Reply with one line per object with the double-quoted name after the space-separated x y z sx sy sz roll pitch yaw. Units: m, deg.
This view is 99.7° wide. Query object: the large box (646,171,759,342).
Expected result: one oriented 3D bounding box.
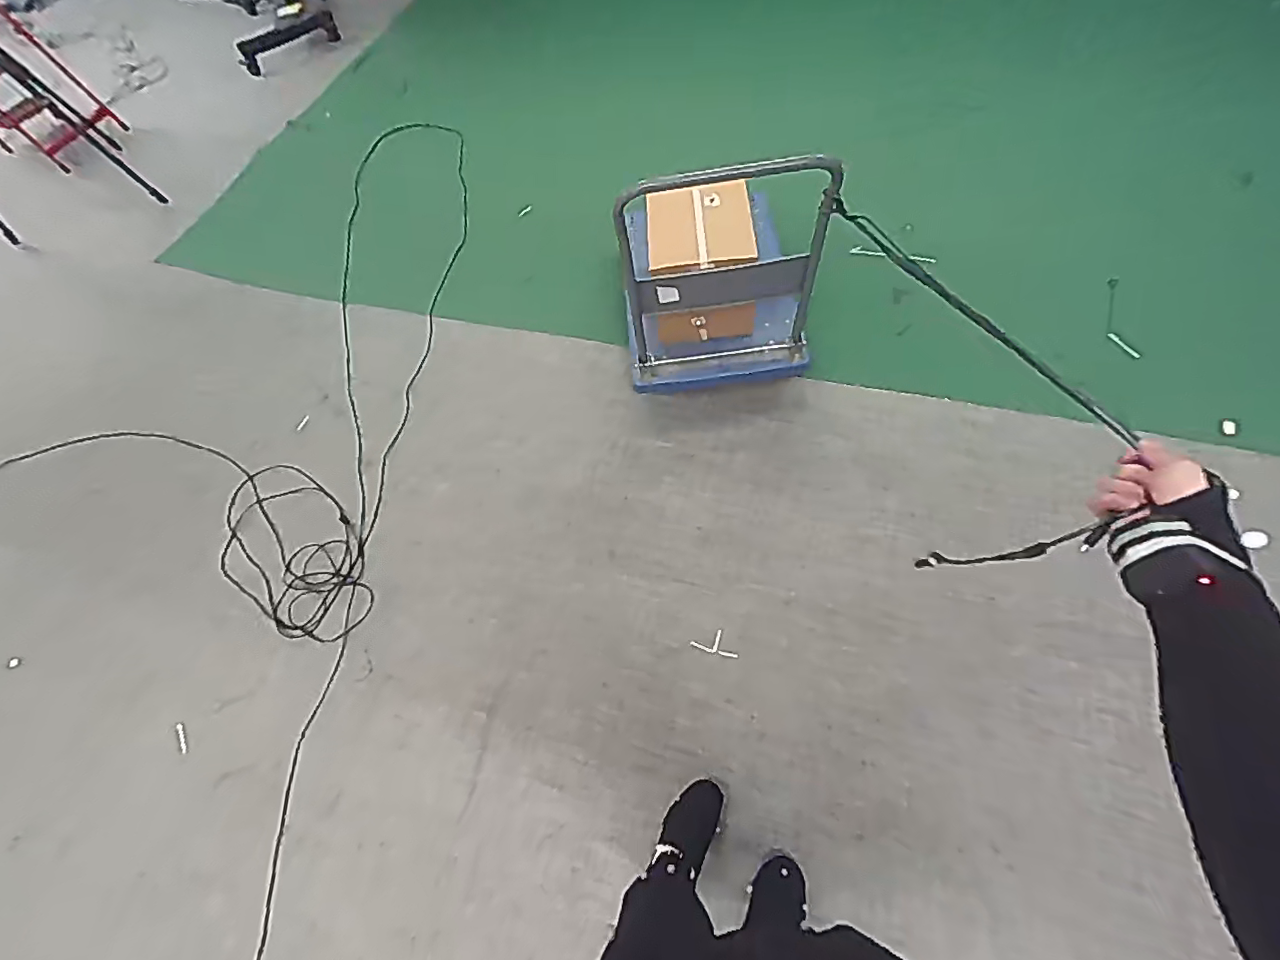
0.197 -0.712 1.743 0.320 0.320 0.408 -4 61 6 "large box"
